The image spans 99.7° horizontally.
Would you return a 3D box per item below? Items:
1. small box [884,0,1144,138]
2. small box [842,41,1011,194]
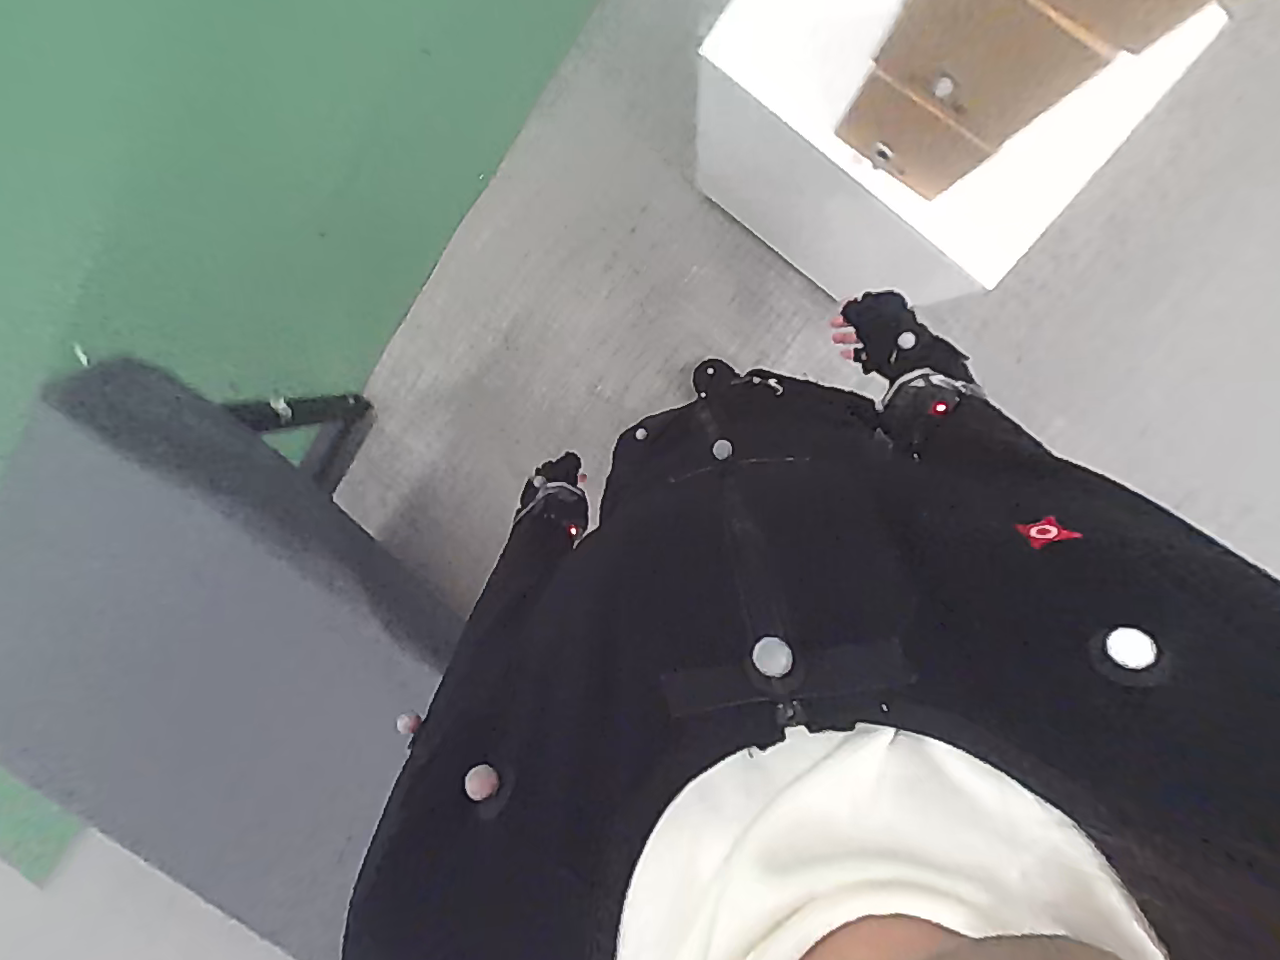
[{"bbox_3d":[0.342,-0.443,0.457,0.168,0.176,0.179,31,102,-1],"label":"small box"},{"bbox_3d":[0.359,-0.470,0.618,0.168,0.176,0.179,33,104,0],"label":"small box"}]
